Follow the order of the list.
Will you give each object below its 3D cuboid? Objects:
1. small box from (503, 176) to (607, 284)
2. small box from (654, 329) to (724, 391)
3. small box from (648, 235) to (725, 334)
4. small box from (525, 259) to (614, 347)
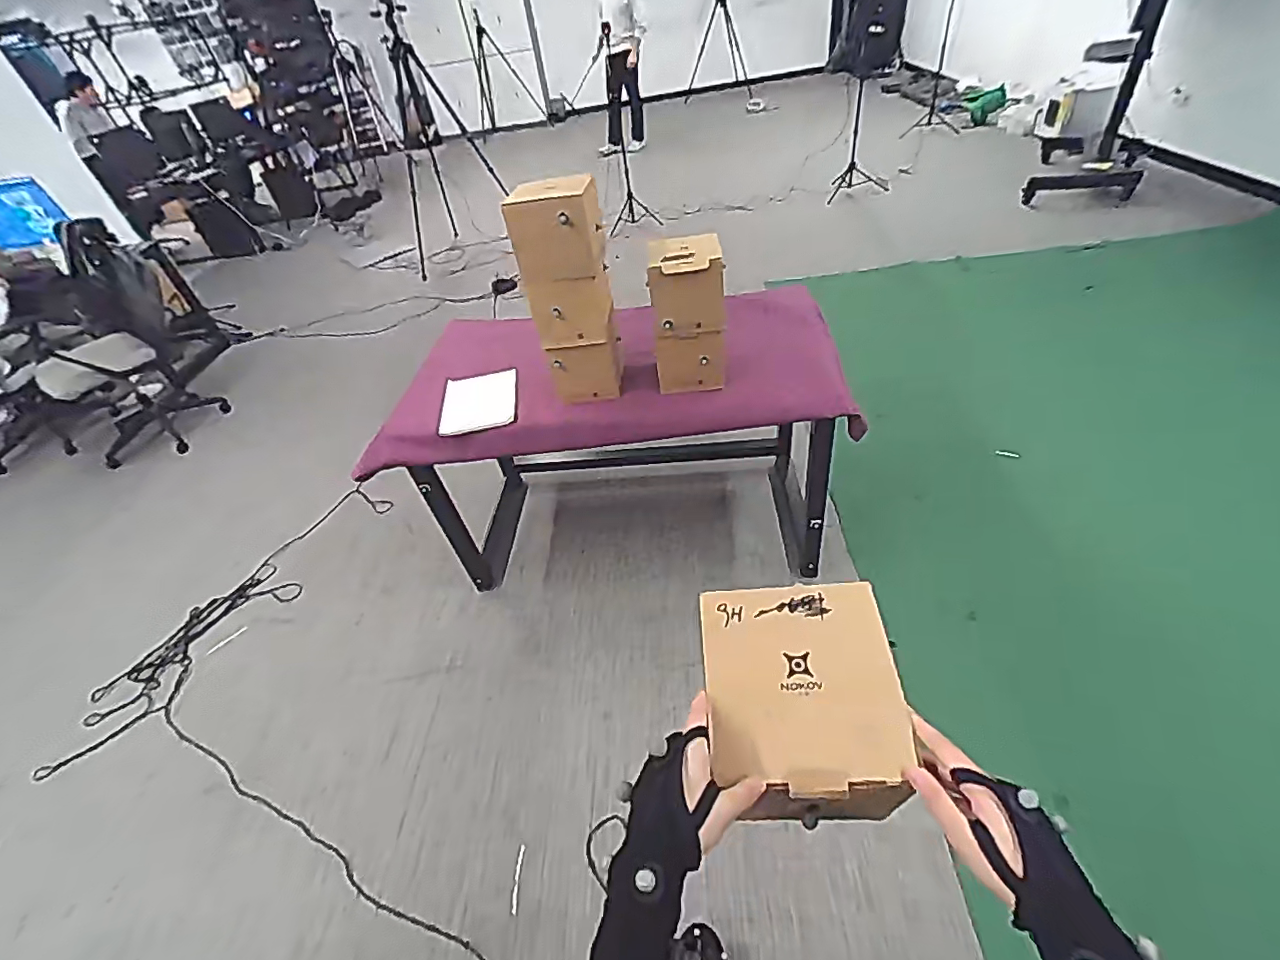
[{"bbox_3d":[-0.177,-0.554,1.201,0.179,0.176,0.168,-3,41,10],"label":"small box"},{"bbox_3d":[0.129,-0.340,1.395,0.168,0.176,0.179,-3,41,7],"label":"small box"},{"bbox_3d":[0.112,-0.458,1.283,0.168,0.176,0.179,-4,41,6],"label":"small box"},{"bbox_3d":[-0.162,-0.435,1.316,0.168,0.176,0.179,-4,41,8],"label":"small box"}]
